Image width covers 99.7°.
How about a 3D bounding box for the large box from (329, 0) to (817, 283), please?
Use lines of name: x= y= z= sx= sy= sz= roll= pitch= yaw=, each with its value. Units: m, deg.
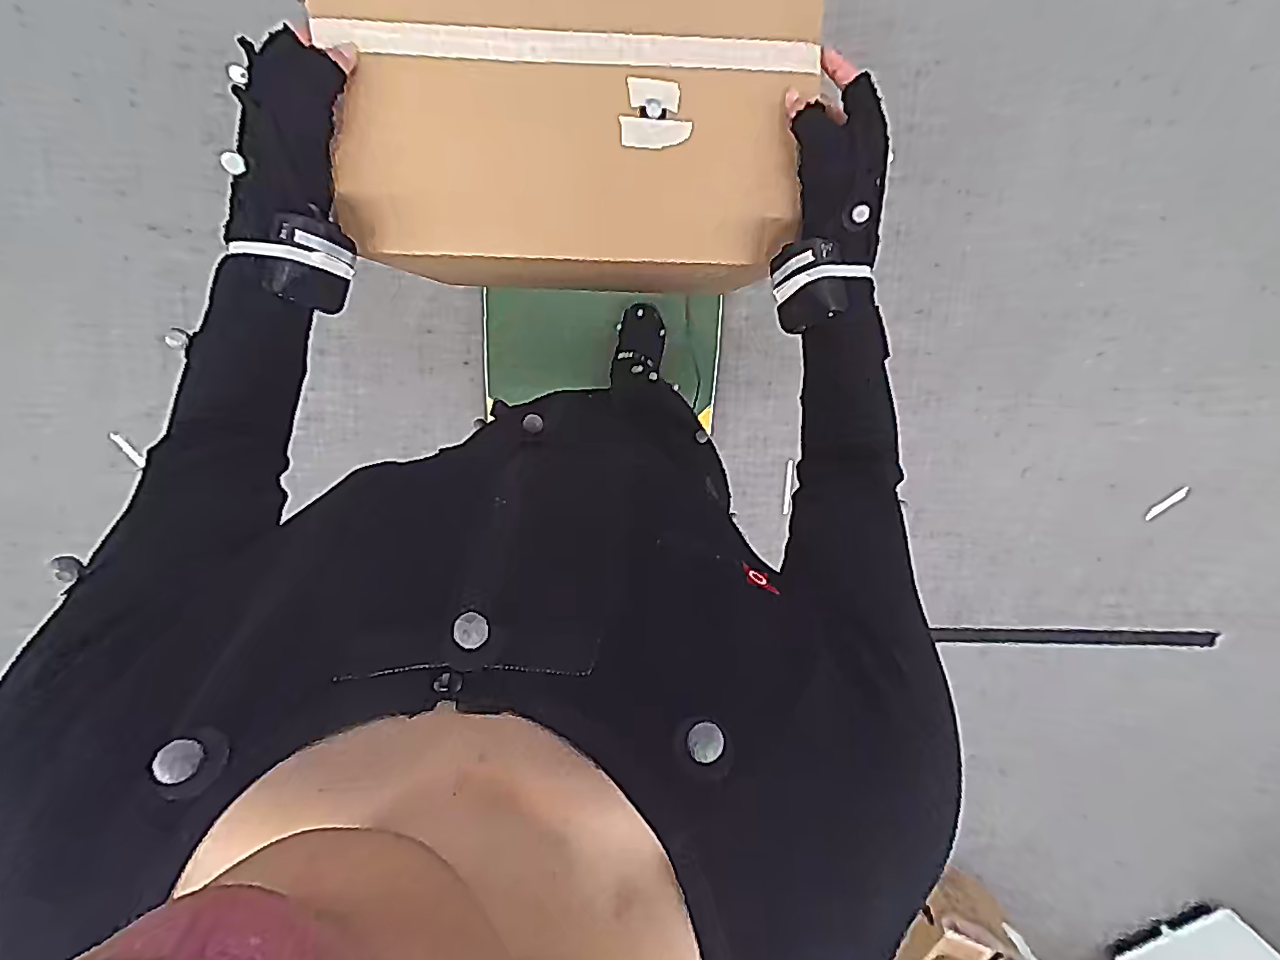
large box: x=-0.062 y=-0.396 z=0.592 sx=0.408 sy=0.320 sz=0.320 roll=0 pitch=105 yaw=-4
